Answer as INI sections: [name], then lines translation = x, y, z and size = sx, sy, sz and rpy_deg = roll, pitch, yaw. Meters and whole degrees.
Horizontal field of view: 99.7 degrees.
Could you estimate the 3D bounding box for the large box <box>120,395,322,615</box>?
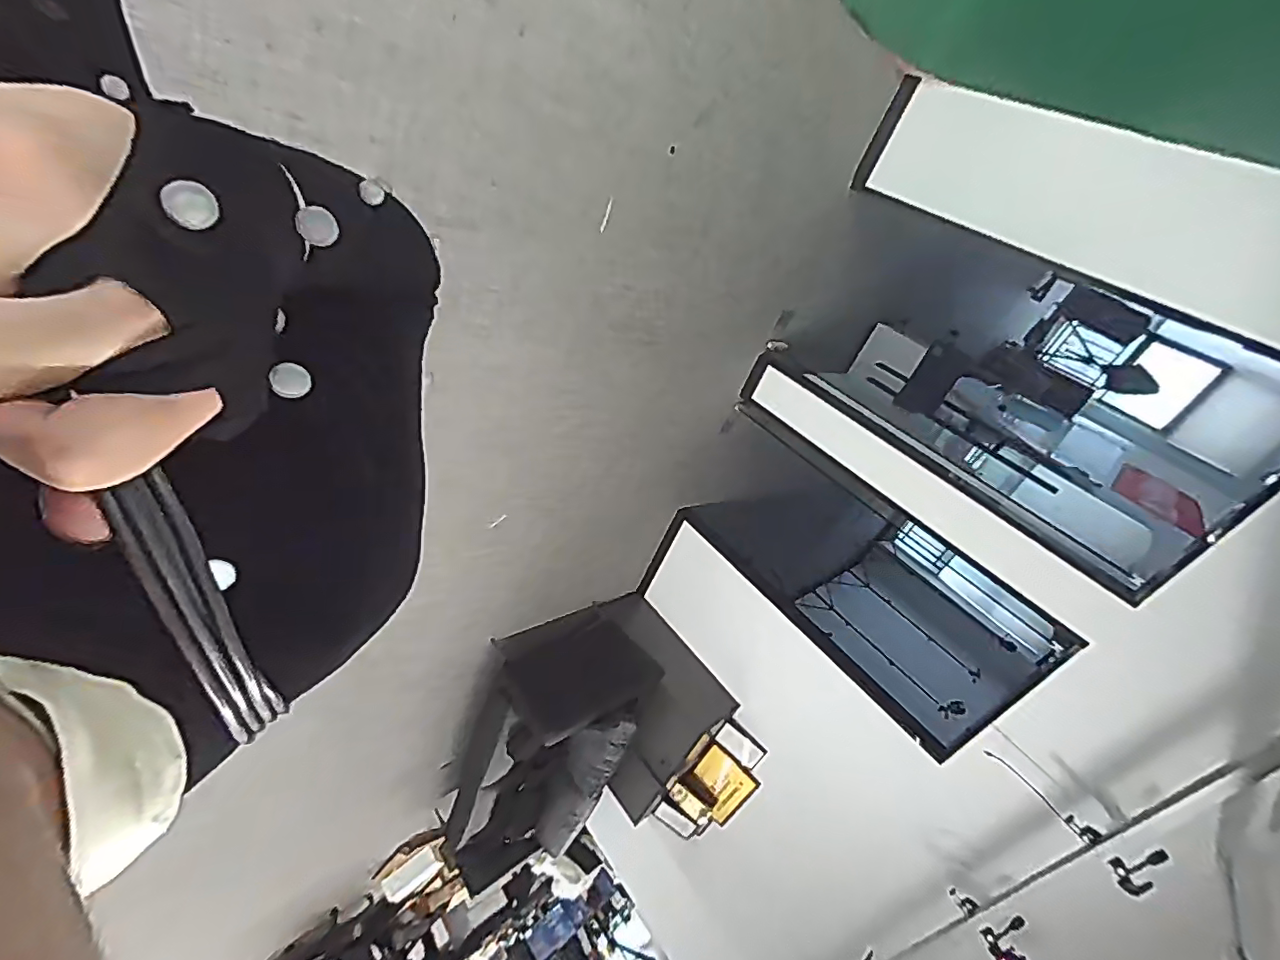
[large box]
translation = -1.011, 0.043, 1.305
size = 0.320, 0.320, 0.408
rpy_deg = -7, 133, -48
